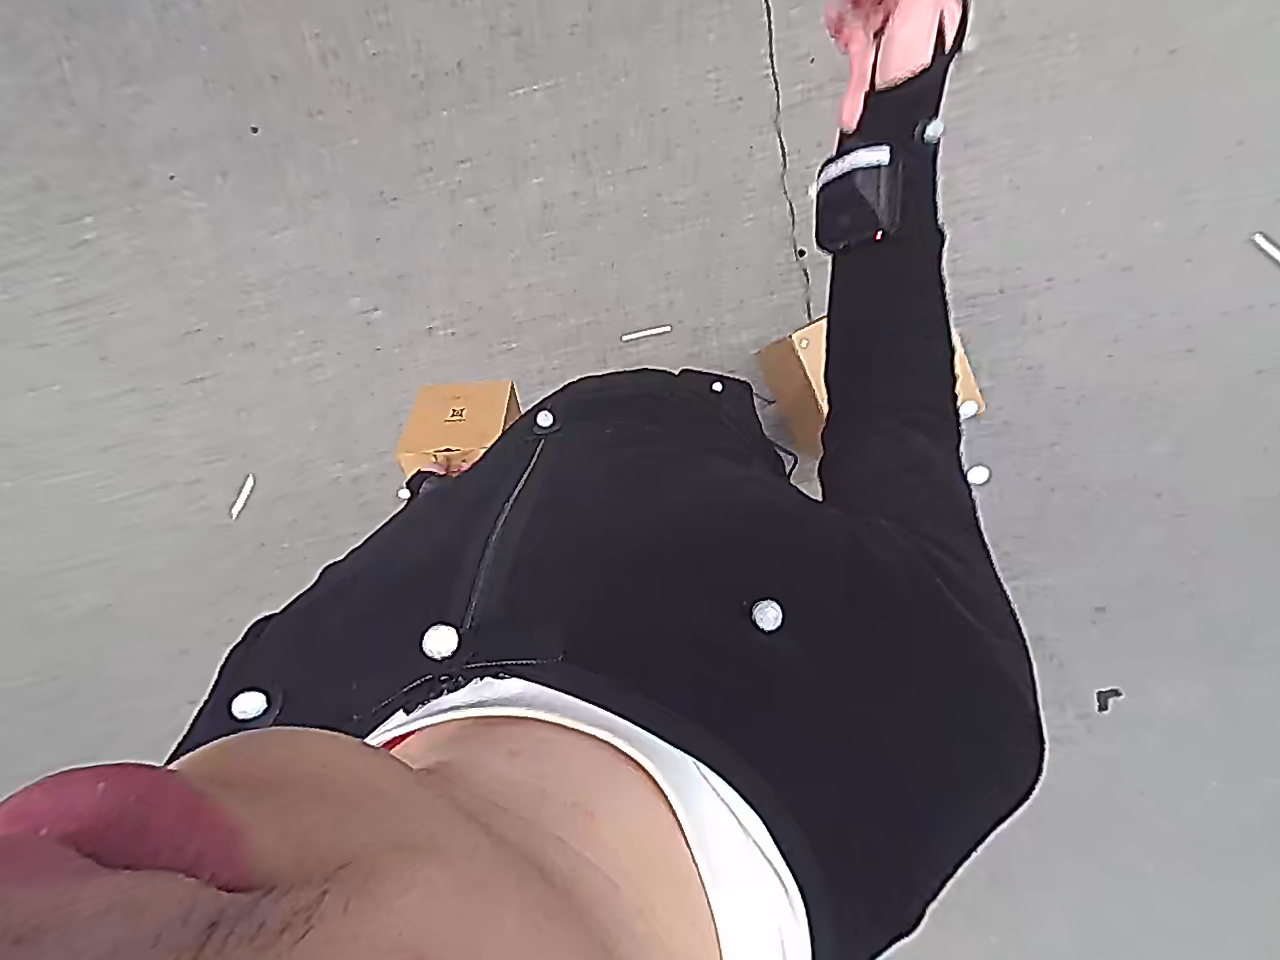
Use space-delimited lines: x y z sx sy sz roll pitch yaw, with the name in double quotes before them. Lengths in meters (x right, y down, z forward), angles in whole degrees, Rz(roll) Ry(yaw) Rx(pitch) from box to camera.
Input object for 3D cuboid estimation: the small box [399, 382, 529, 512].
"small box" -0.302 -0.053 0.971 0.168 0.179 0.176 -3 138 1
